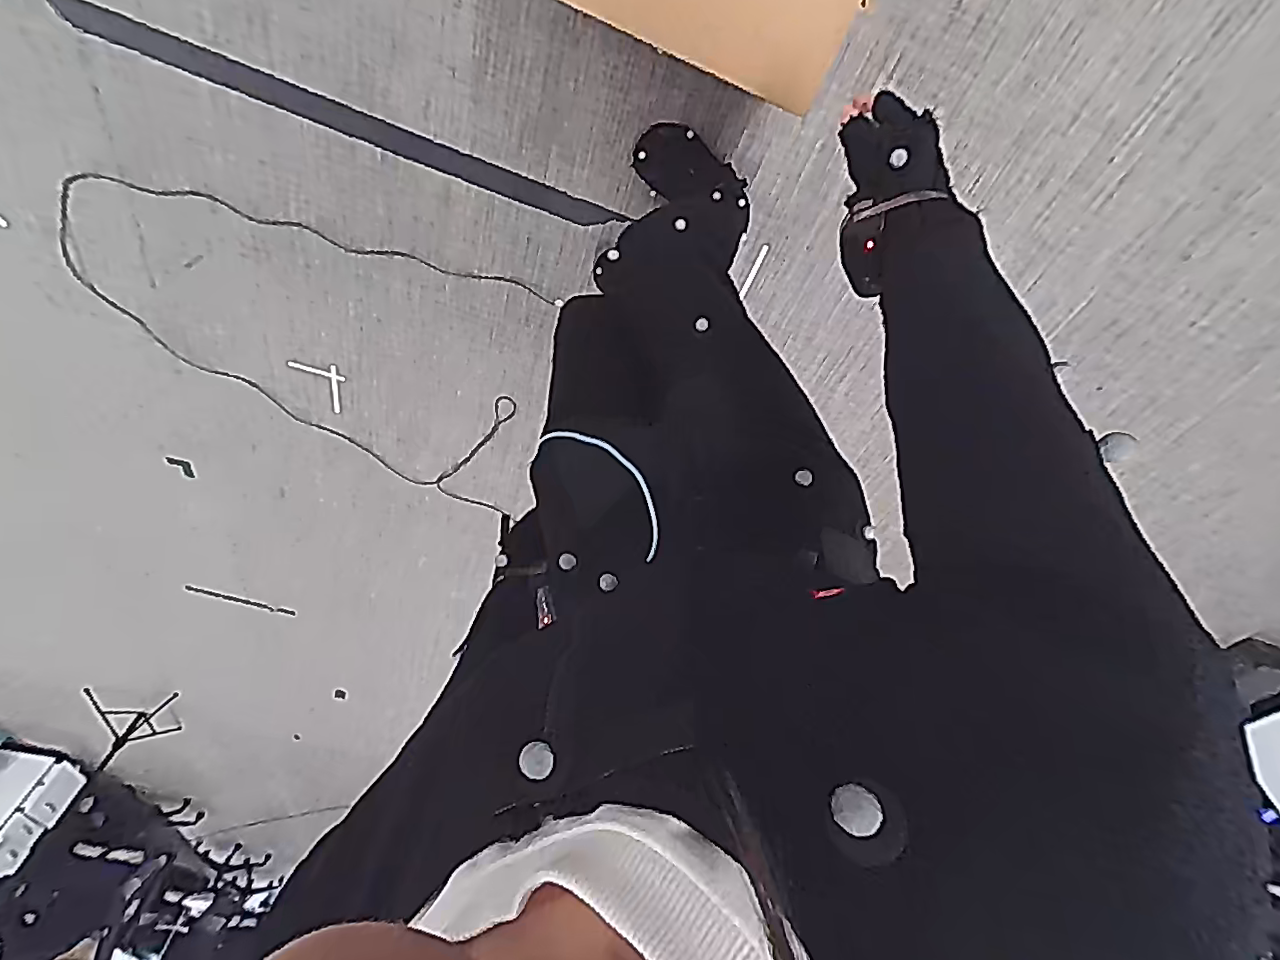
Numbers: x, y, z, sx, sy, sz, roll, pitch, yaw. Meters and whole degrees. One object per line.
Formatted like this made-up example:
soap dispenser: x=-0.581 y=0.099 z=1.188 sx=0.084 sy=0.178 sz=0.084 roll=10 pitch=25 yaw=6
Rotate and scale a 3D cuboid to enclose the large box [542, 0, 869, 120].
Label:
large box: x=0.102 y=-0.732 z=0.688 sx=0.408 sy=0.320 sz=0.320 roll=18 pitch=131 yaw=-11
